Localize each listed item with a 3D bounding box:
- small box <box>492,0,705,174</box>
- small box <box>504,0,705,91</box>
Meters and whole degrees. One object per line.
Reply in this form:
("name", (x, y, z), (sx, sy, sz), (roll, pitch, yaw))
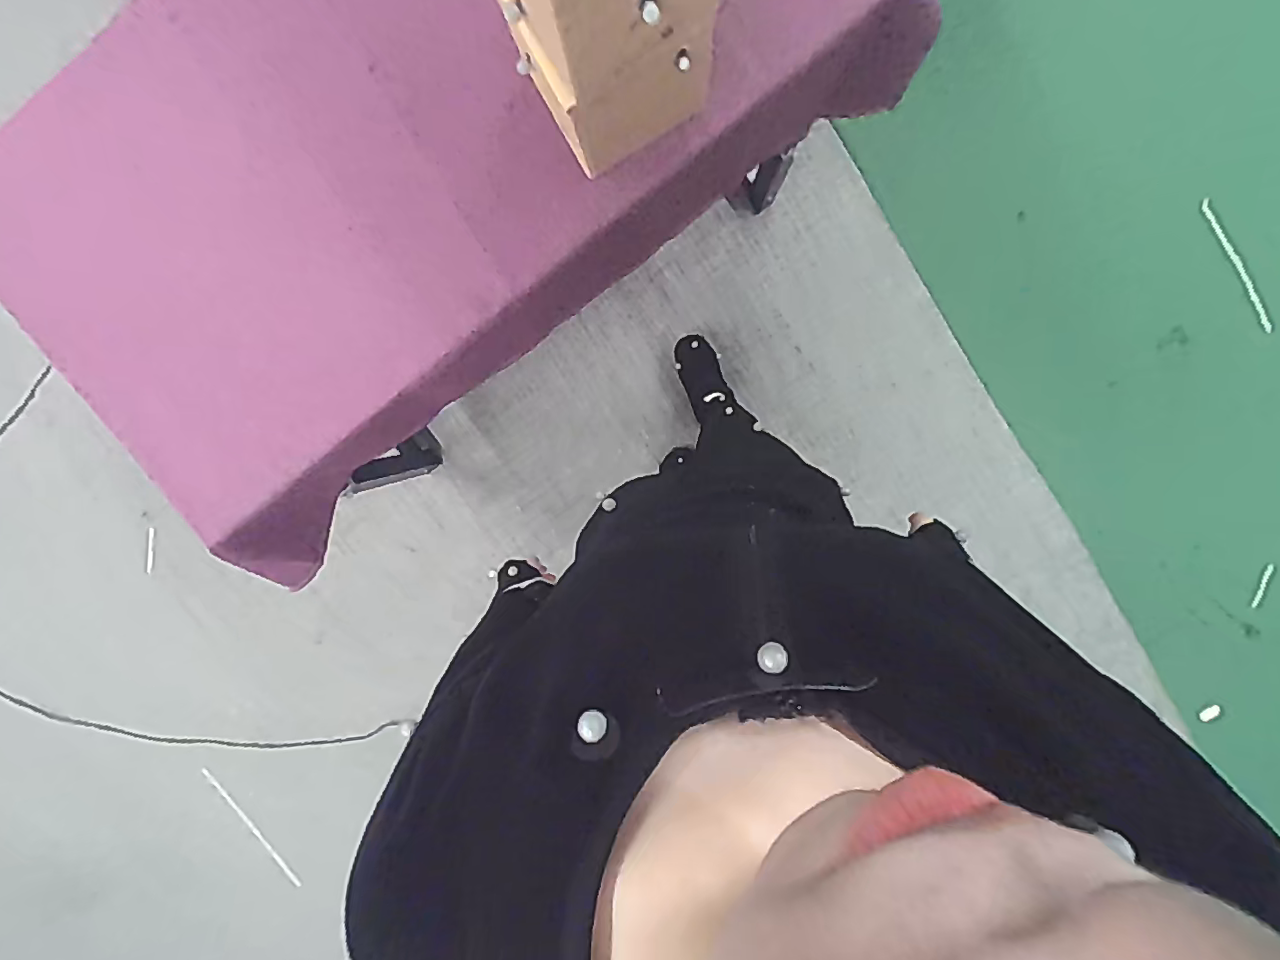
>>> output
("small box", (-0.043, -0.491, 0.612), (0.179, 0.176, 0.168), (-30, 95, 6))
("small box", (-0.048, -0.473, 0.449), (0.168, 0.176, 0.179), (-33, 95, 6))
